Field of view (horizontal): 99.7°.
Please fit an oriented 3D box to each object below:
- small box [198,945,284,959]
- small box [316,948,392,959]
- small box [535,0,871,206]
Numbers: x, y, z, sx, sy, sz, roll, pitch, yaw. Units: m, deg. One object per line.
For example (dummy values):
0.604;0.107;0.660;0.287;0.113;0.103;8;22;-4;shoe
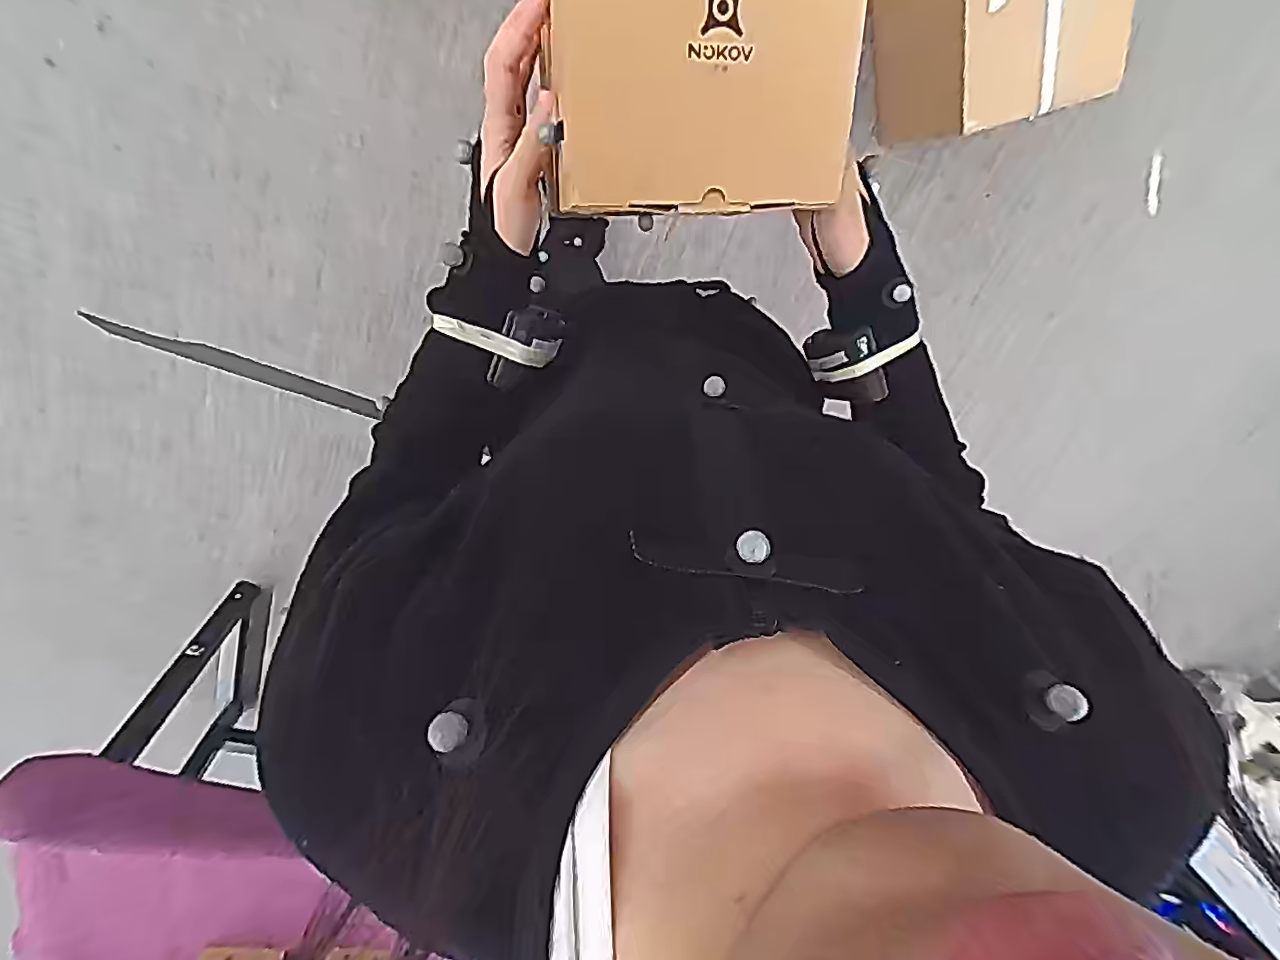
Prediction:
-0.888;1.133;1.146;0.168;0.176;0.179;18;113;-18;small box
-0.670;1.186;1.207;0.168;0.176;0.179;18;113;-17;small box
0.025;-0.277;0.345;0.168;0.176;0.179;-7;117;-12;small box
